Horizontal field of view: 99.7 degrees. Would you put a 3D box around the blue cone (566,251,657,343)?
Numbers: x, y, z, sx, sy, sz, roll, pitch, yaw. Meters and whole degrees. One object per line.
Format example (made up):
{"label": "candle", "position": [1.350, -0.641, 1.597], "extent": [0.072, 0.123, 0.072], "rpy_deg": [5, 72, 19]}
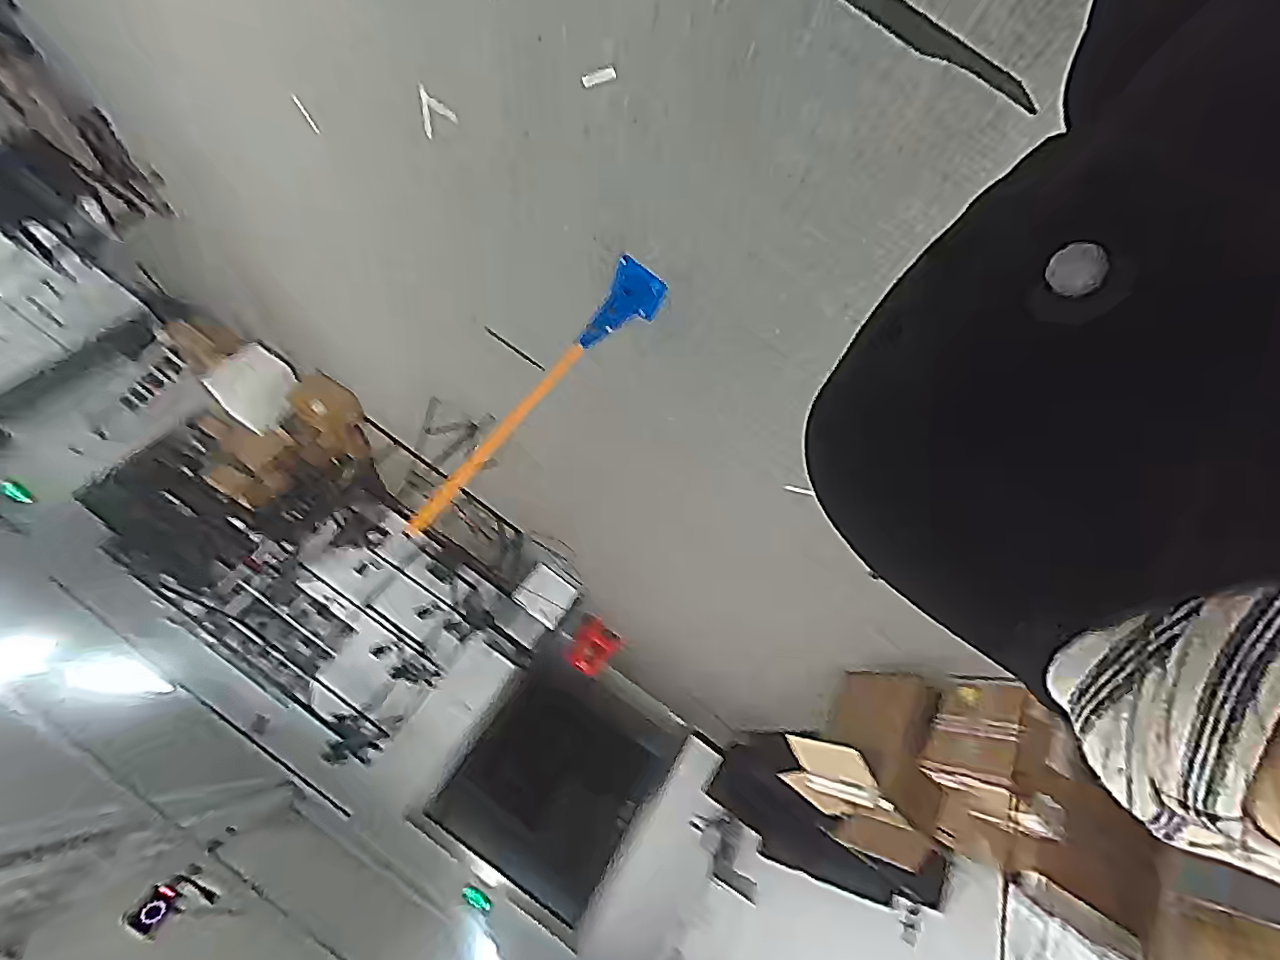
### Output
{"label": "blue cone", "position": [-0.118, -0.588, 1.853], "extent": [0.192, 0.380, 0.193], "rpy_deg": [38, 152, -1]}
